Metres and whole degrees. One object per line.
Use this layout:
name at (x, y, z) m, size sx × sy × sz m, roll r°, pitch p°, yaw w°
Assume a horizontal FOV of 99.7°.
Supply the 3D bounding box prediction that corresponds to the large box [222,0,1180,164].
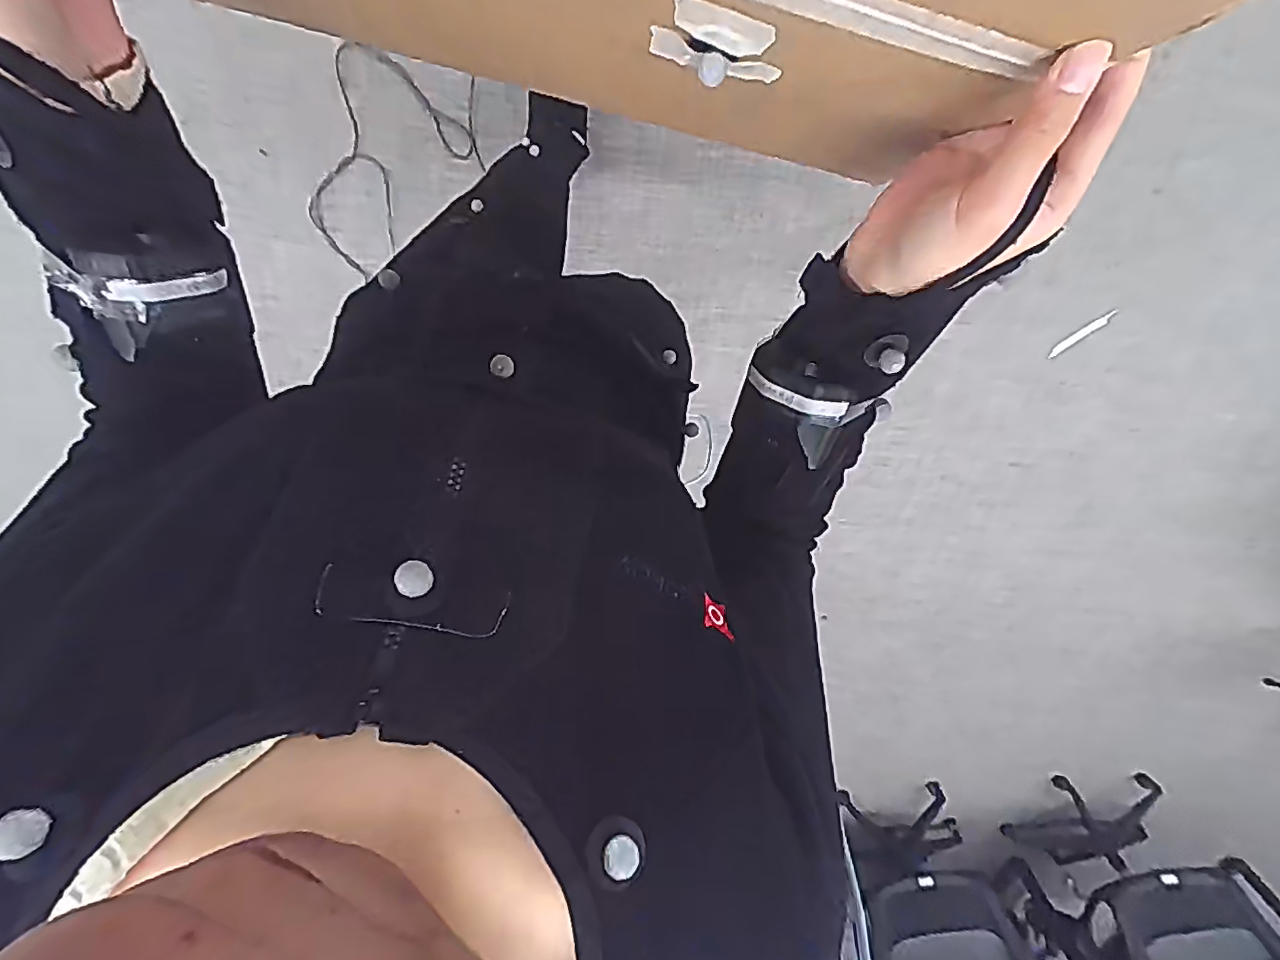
large box at (-0.001, -0.337, 0.138) m, size 0.408 × 0.320 × 0.320 m, roll 9°, pitch 105°, yaw -8°
